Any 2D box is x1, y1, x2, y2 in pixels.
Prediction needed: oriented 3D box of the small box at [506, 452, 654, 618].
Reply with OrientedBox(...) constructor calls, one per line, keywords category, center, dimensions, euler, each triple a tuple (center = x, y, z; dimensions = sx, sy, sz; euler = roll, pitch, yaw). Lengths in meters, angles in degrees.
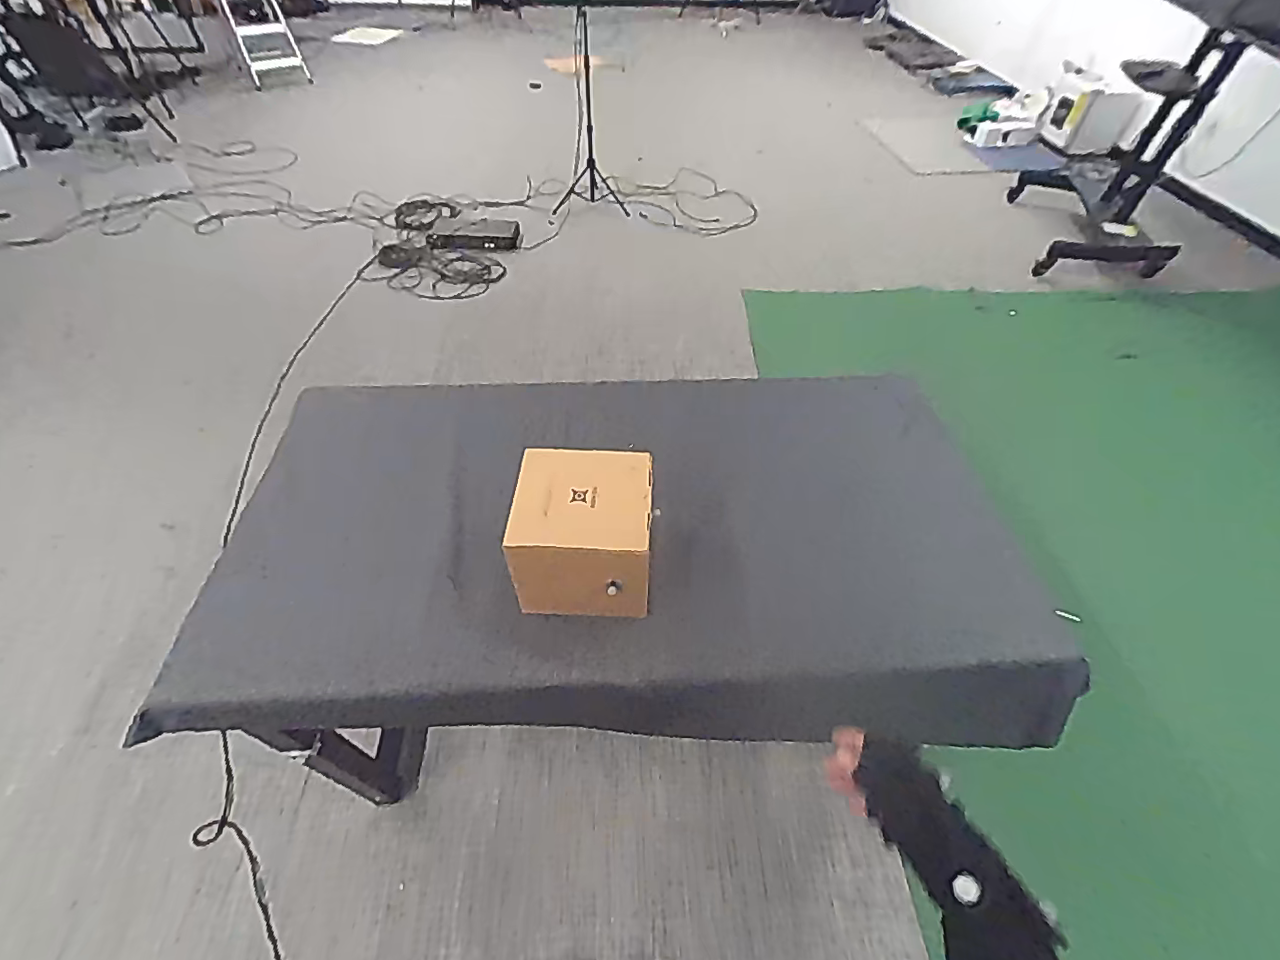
OrientedBox(category="small box", center=(-0.071, 0.080, 0.753), dimensions=(0.179, 0.176, 0.168), euler=(1, 47, 1))
